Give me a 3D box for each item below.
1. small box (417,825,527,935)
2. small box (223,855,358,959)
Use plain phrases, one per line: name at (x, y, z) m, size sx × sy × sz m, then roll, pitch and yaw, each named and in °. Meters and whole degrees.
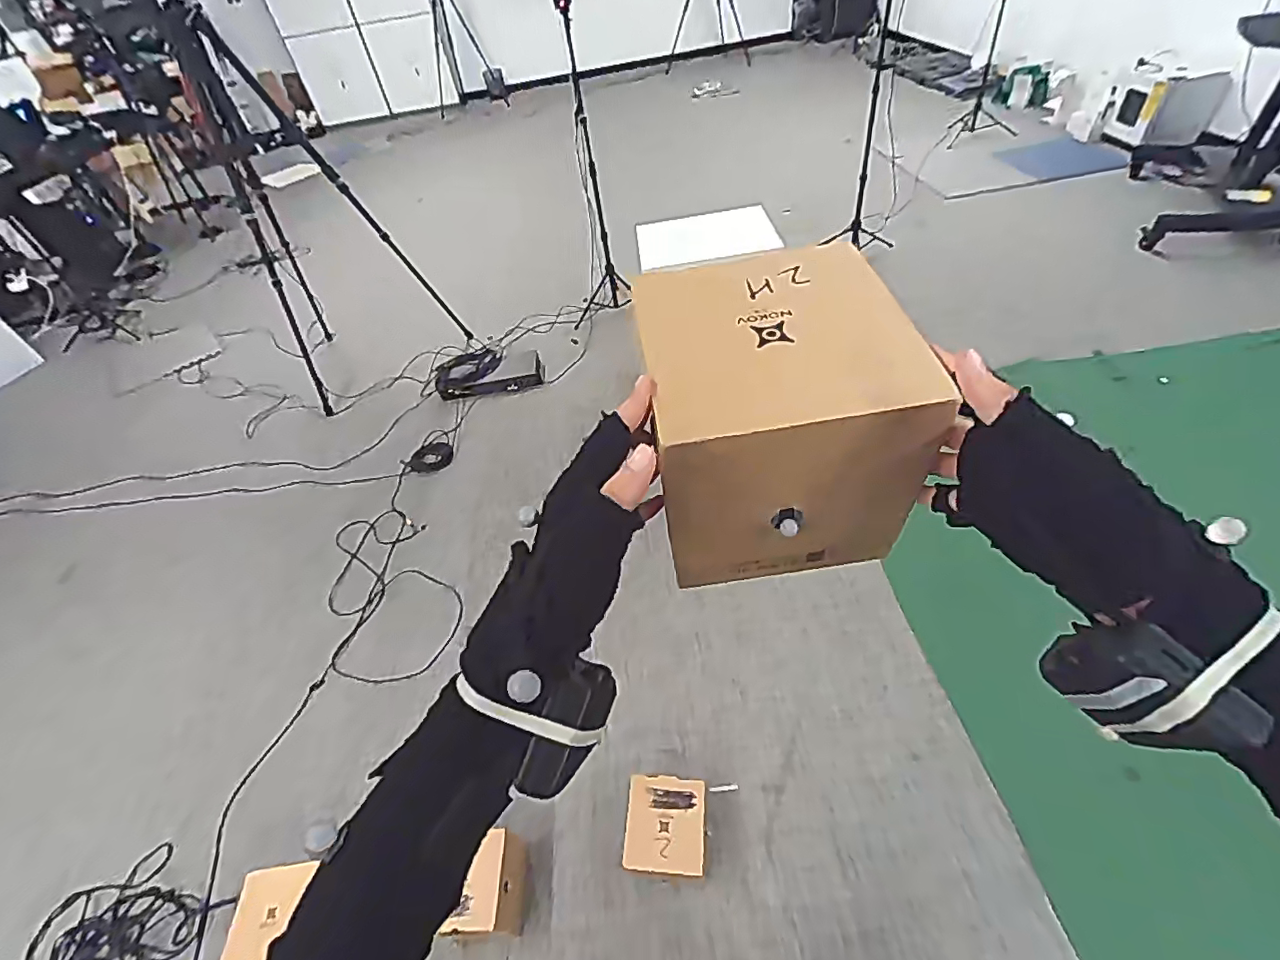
small box at (-0.356, 0.877, 1.181) m, size 0.168 × 0.176 × 0.179 m, roll -7°, pitch 46°, yaw 5°
small box at (-0.752, 0.952, 1.186) m, size 0.168 × 0.176 × 0.179 m, roll -11°, pitch 47°, yaw 1°
